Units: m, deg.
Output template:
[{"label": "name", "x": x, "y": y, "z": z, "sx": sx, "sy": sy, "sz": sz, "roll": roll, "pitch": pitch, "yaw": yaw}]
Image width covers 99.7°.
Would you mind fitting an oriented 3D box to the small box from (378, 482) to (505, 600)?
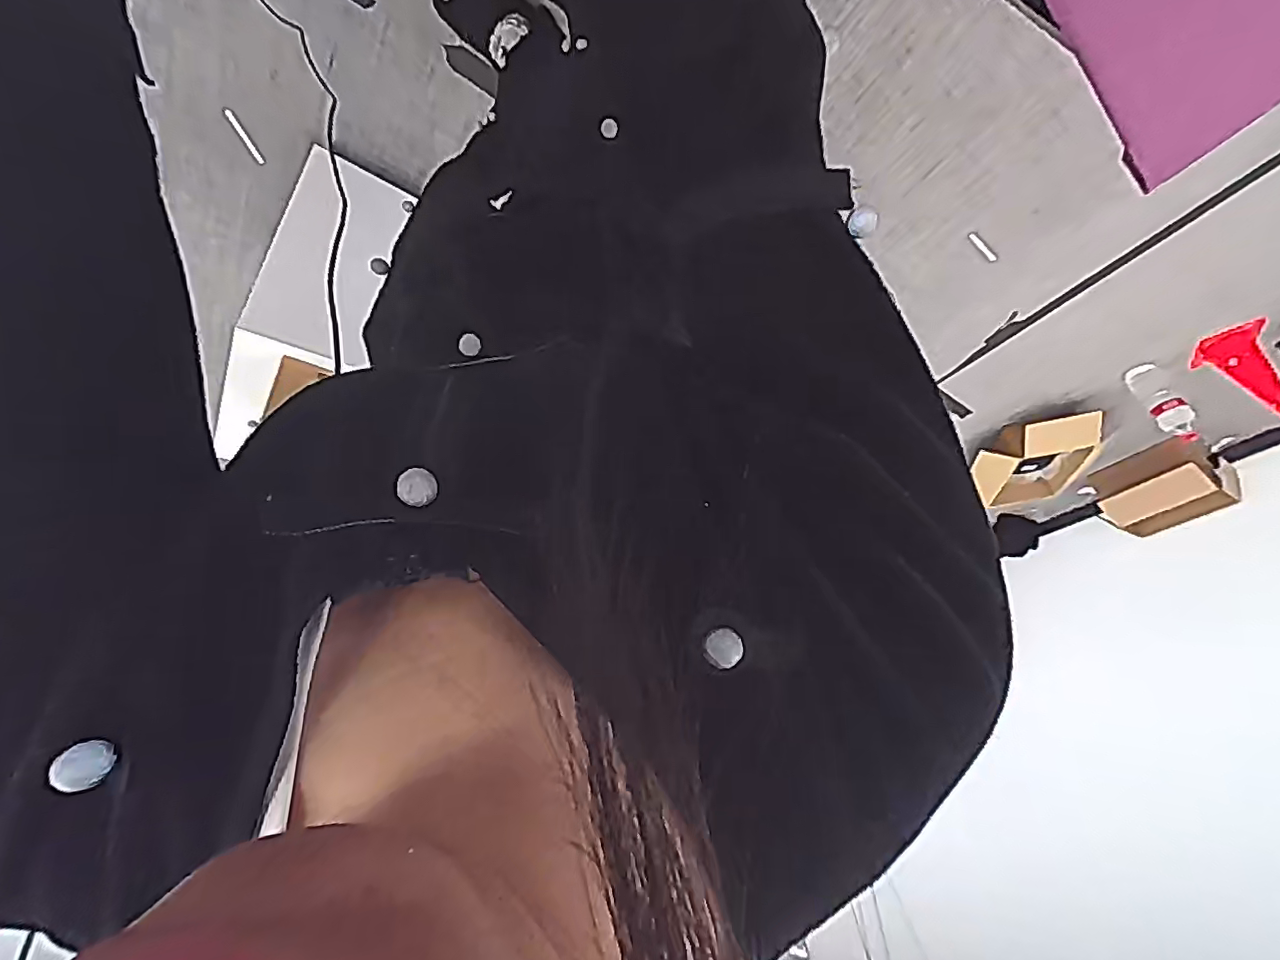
[{"label": "small box", "x": -0.358, "y": 0.123, "z": 0.986, "sx": 0.168, "sy": 0.176, "sz": 0.179, "roll": 17, "pitch": 142, "yaw": -33}]
